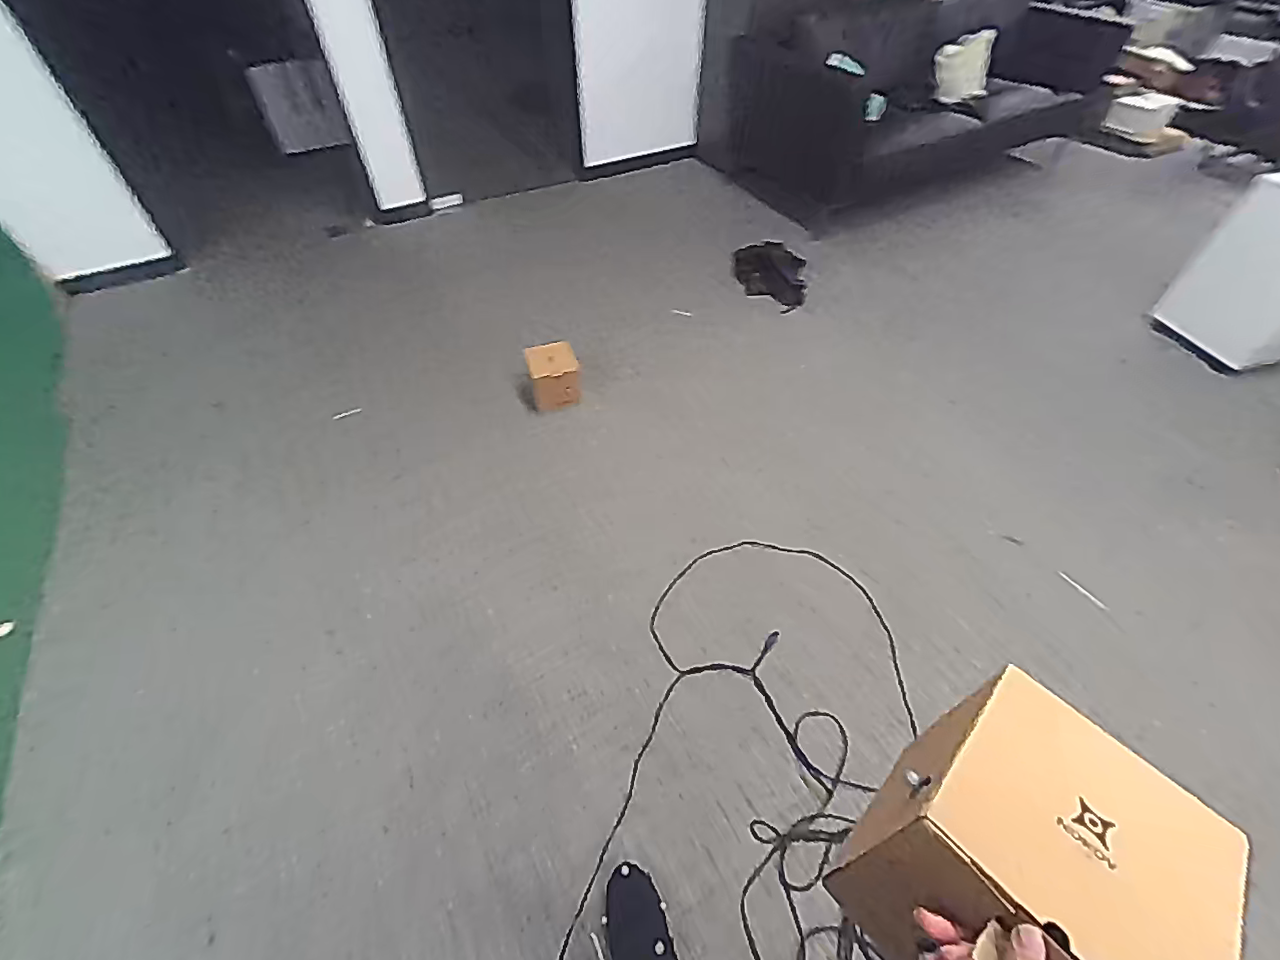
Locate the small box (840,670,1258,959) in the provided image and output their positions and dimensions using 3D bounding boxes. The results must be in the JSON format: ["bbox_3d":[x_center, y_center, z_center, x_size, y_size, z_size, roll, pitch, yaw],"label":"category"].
[{"bbox_3d":[0.282,0.286,0.402,0.179,0.176,0.168,-27,55,-36],"label":"small box"}]

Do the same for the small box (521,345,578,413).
[{"bbox_3d":[-0.328,-0.363,1.979,0.168,0.176,0.179,-15,50,-15],"label":"small box"}]
